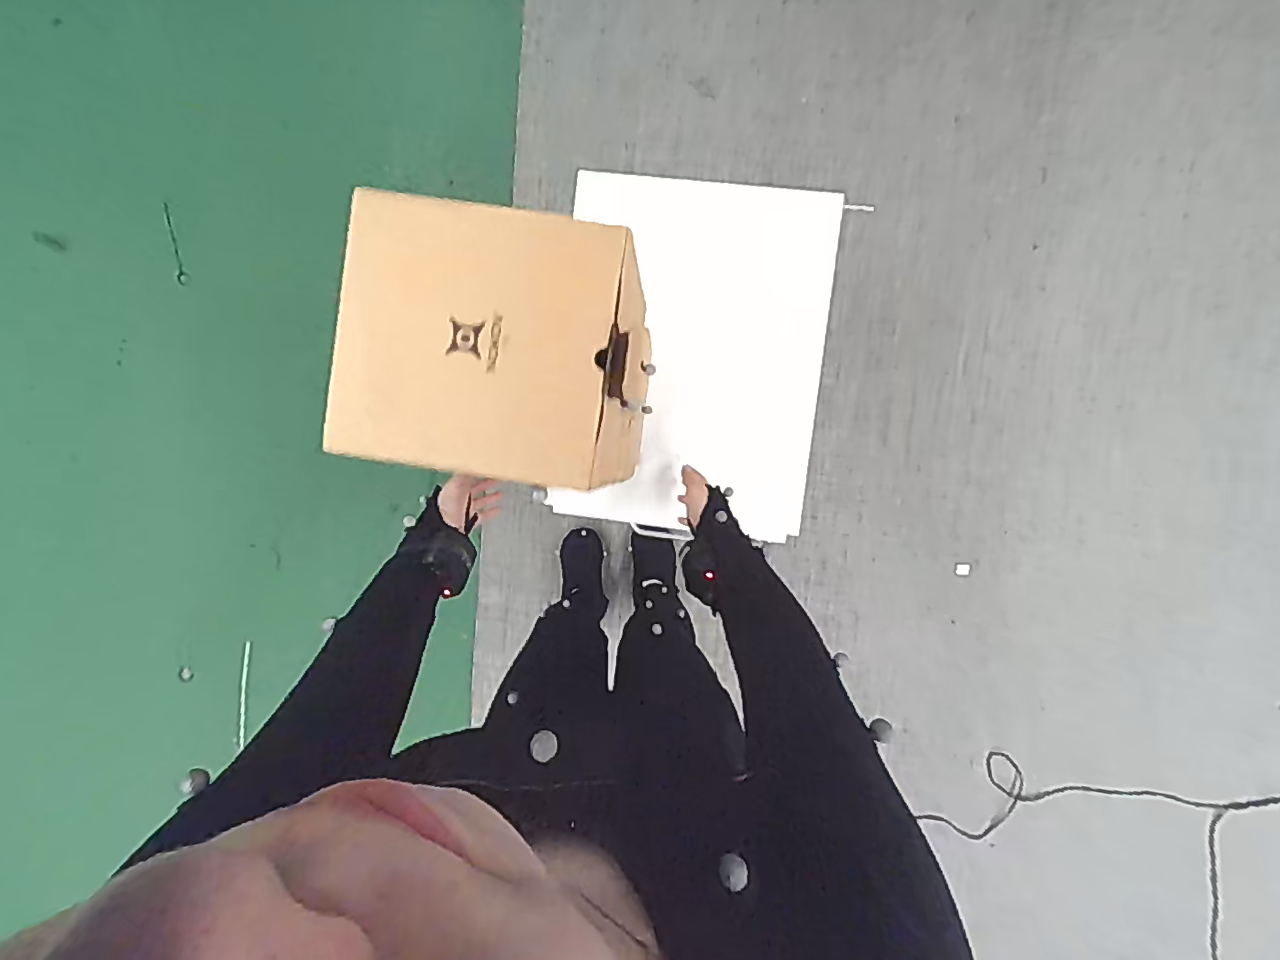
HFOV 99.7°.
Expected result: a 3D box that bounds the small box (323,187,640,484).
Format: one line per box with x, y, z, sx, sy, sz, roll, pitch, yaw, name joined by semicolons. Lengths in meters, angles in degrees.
-0.099;-0.092;0.414;0.179;0.176;0.168;9;93;2;small box
